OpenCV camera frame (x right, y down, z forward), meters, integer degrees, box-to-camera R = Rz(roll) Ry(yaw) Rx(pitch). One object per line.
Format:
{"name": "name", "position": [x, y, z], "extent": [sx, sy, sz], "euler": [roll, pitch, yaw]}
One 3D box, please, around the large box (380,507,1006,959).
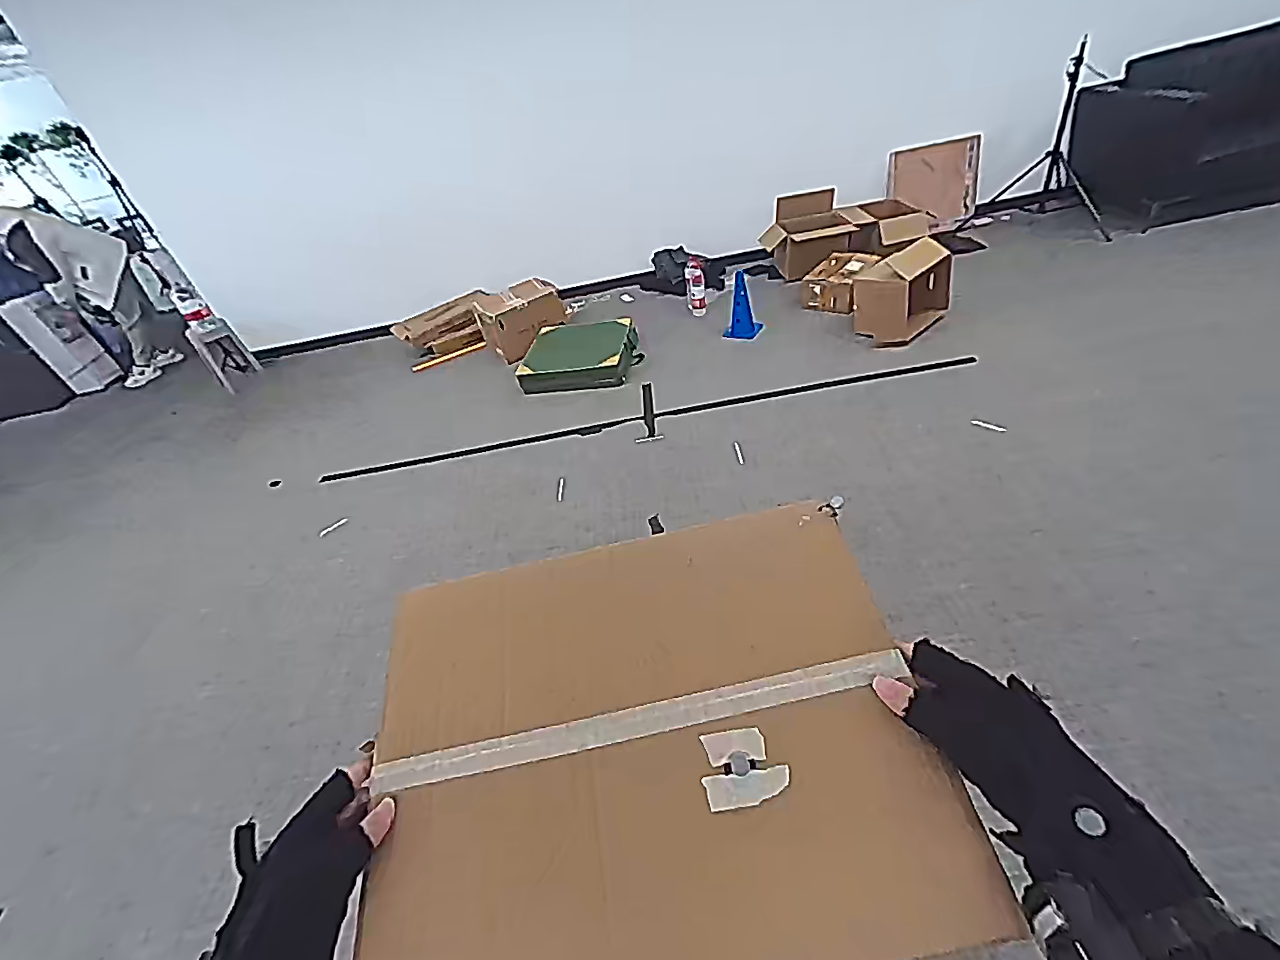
{"name": "large box", "position": [0.024, 0.277, 0.533], "extent": [0.408, 0.320, 0.320], "euler": [-13, 53, 0]}
